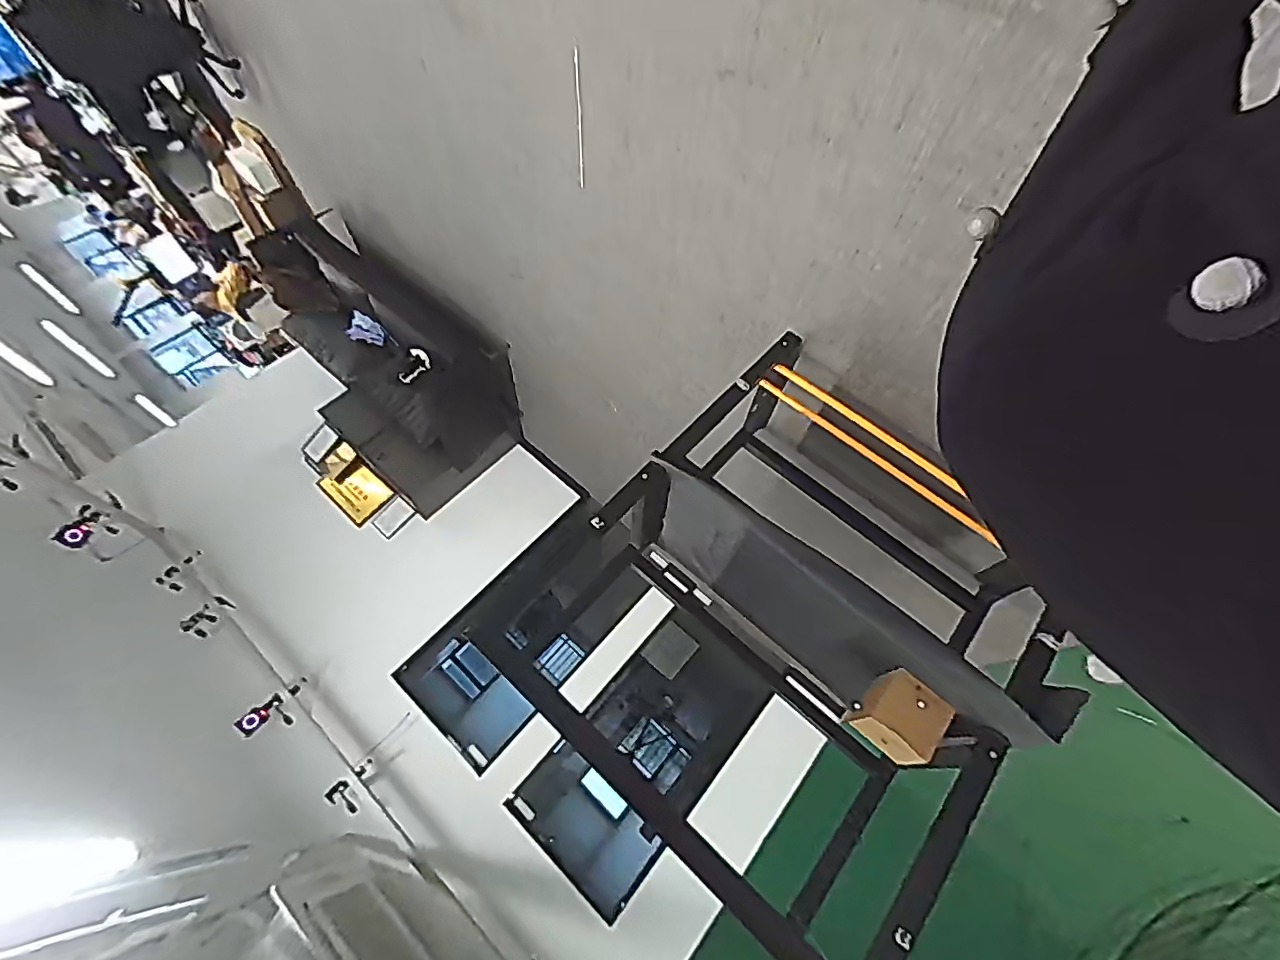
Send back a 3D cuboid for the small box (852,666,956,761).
[{"bbox_3d":[0.724,0.640,1.484,0.168,0.176,0.179,38,156,17],"label":"small box"}]
